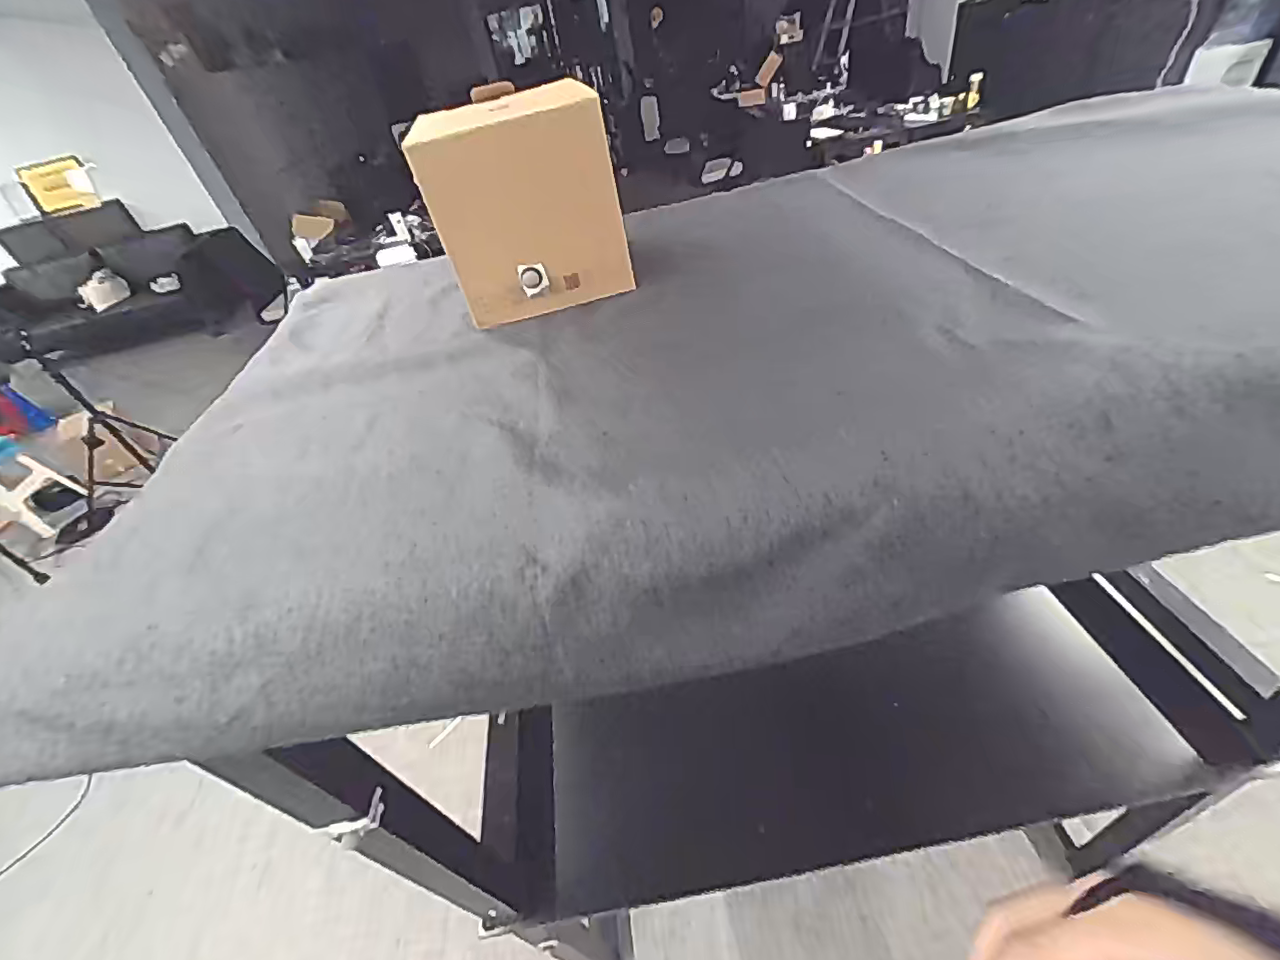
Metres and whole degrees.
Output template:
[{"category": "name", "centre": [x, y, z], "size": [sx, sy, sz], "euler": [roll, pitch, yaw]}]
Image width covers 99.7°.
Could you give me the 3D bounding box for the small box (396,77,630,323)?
[{"category": "small box", "centre": [-0.117, -0.281, 0.543], "size": [0.168, 0.176, 0.179], "euler": [-17, 41, -3]}]
